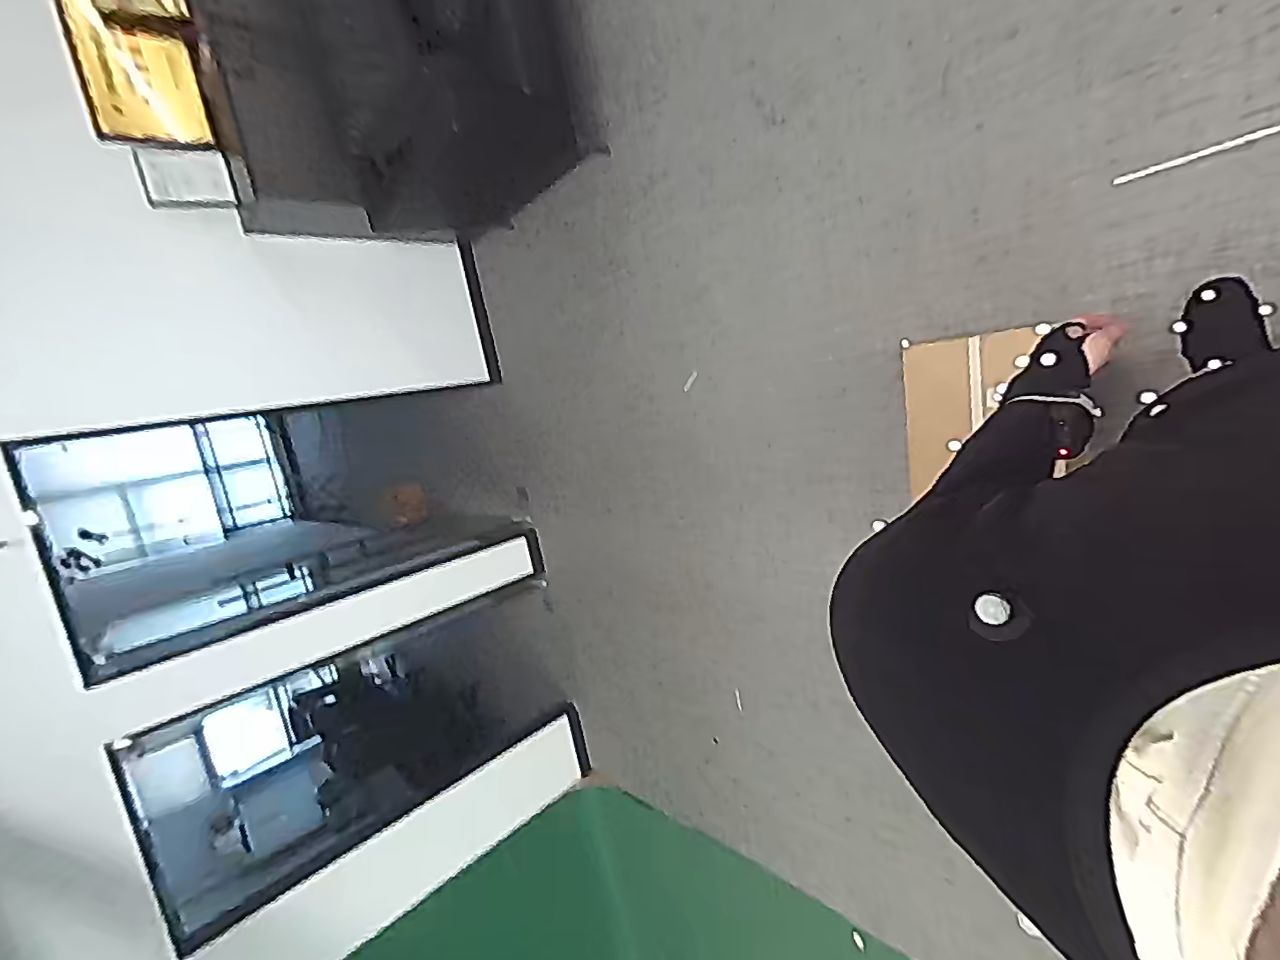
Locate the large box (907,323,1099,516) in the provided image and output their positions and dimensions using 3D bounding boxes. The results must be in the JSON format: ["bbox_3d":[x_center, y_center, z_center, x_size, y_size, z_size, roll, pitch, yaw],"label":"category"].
[{"bbox_3d":[0.885,-0.147,1.315,0.320,0.320,0.408,2,104,48],"label":"large box"}]
